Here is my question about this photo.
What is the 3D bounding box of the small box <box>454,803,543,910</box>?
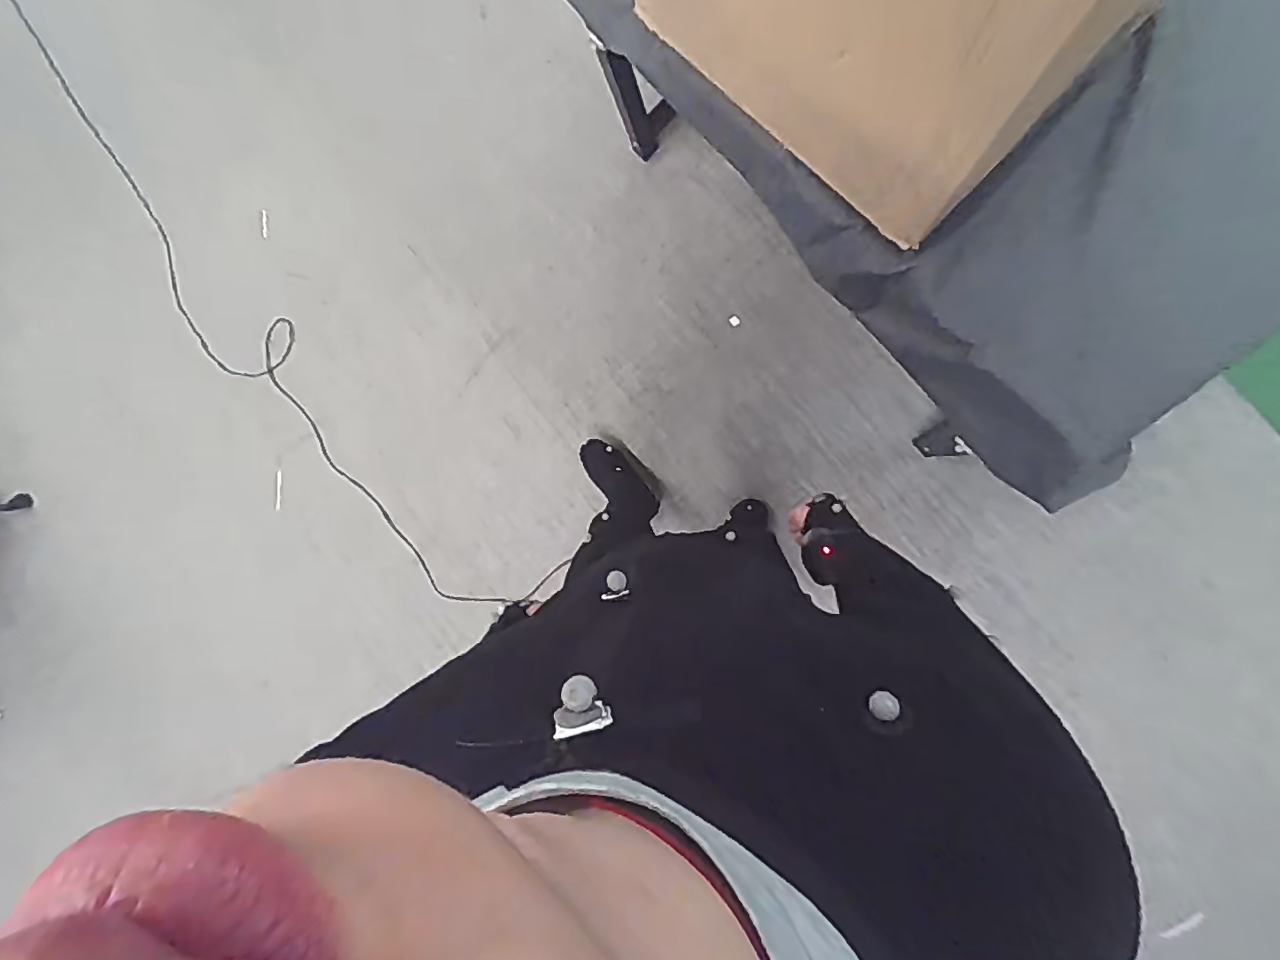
[{"bbox_3d":[-0.417,1.130,1.639,0.179,0.176,0.168,-37,84,11],"label":"small box"}]
